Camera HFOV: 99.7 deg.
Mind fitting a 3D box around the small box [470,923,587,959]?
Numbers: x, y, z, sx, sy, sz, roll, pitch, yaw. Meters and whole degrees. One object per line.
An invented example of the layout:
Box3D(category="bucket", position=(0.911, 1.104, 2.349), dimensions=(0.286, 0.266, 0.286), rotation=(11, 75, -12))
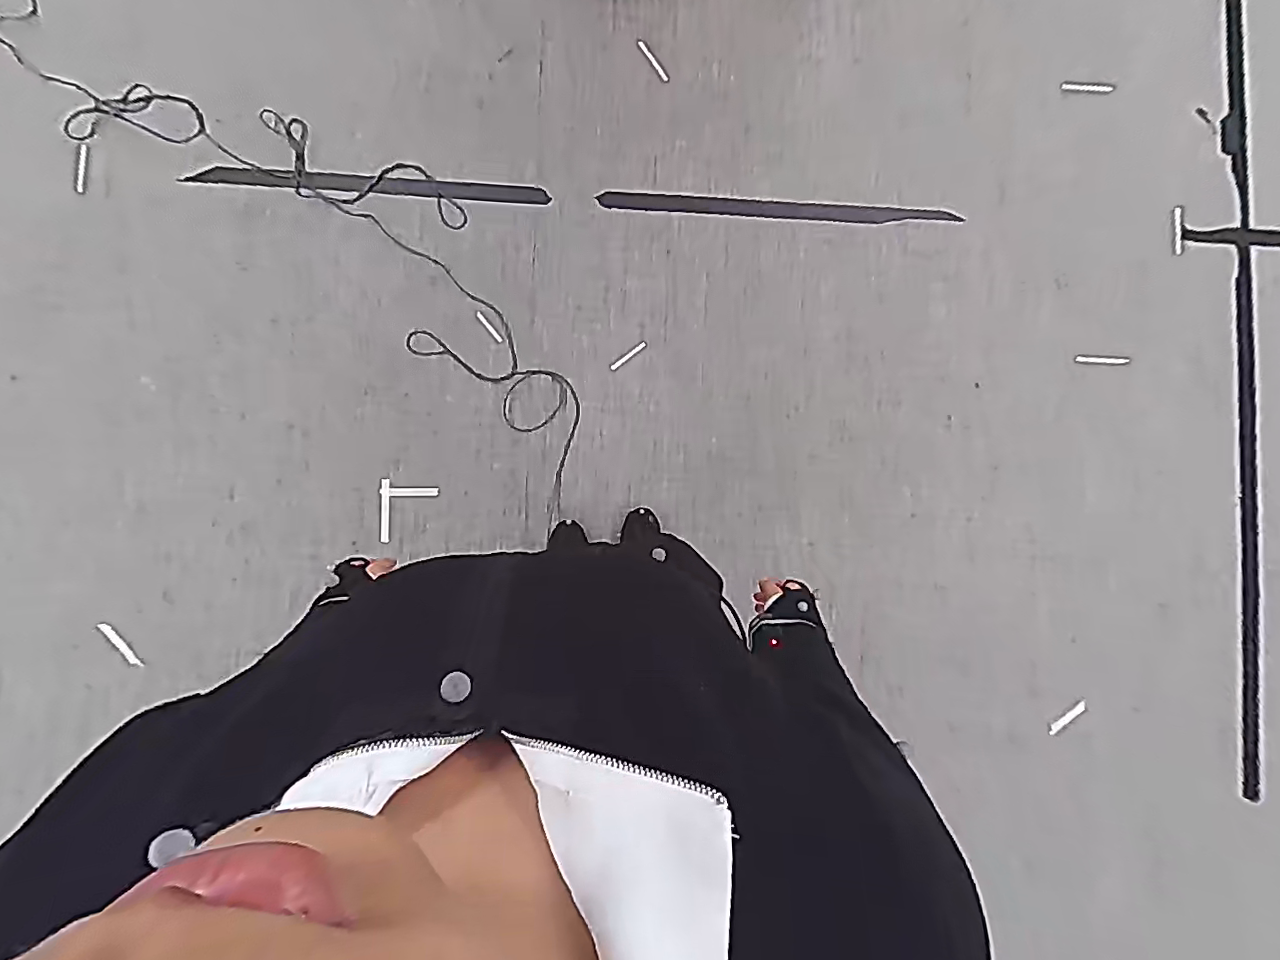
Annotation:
Box3D(category="small box", position=(-0.160, 0.747, 0.734), dimensions=(0.168, 0.176, 0.179), rotation=(2, 84, -2))
